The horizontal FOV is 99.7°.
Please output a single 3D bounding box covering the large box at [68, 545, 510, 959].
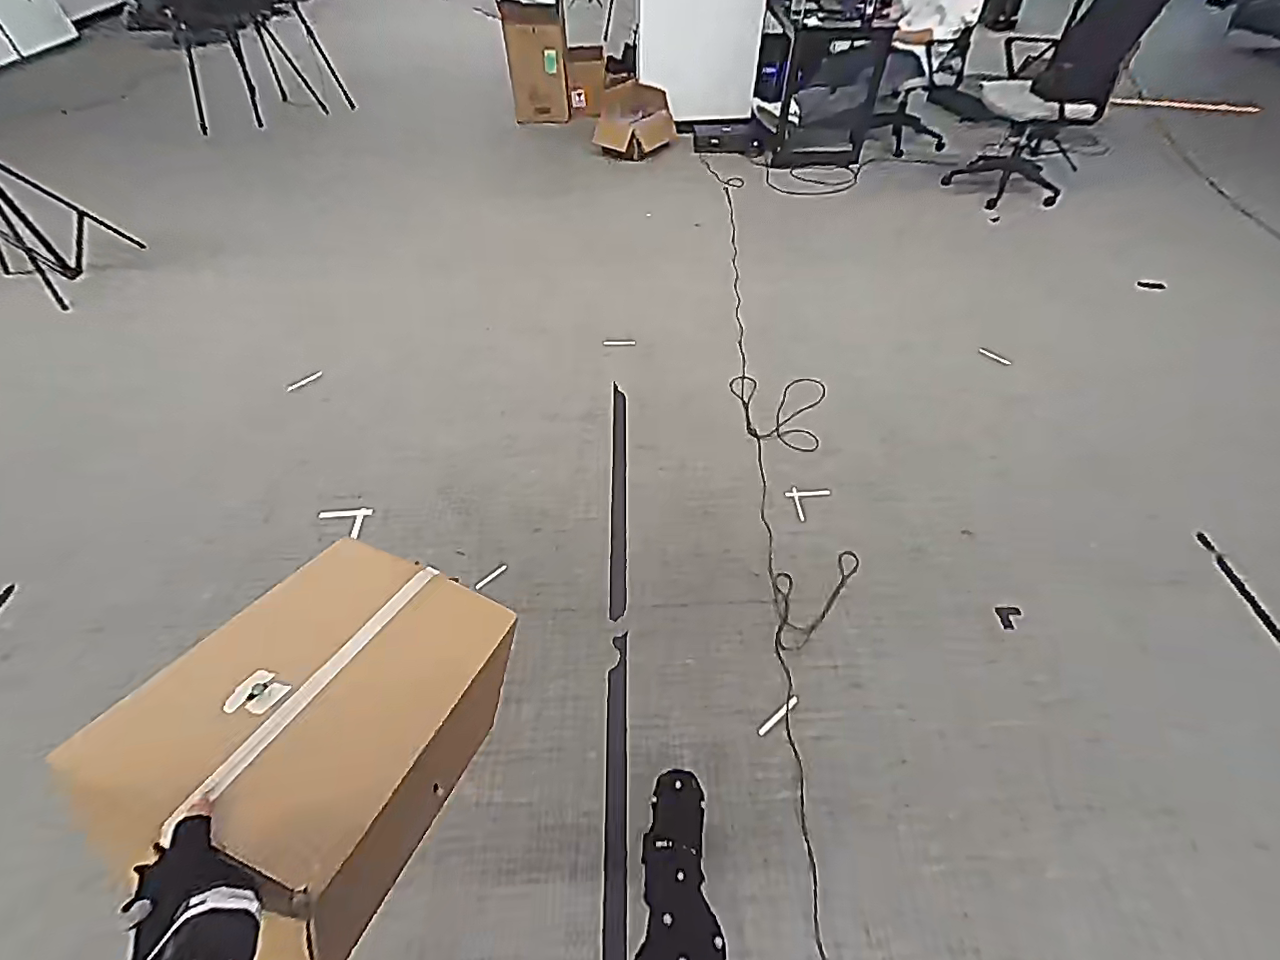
[{"bbox_3d":[-0.437,0.373,0.783,0.320,0.320,0.408,22,33,6],"label":"large box"}]
